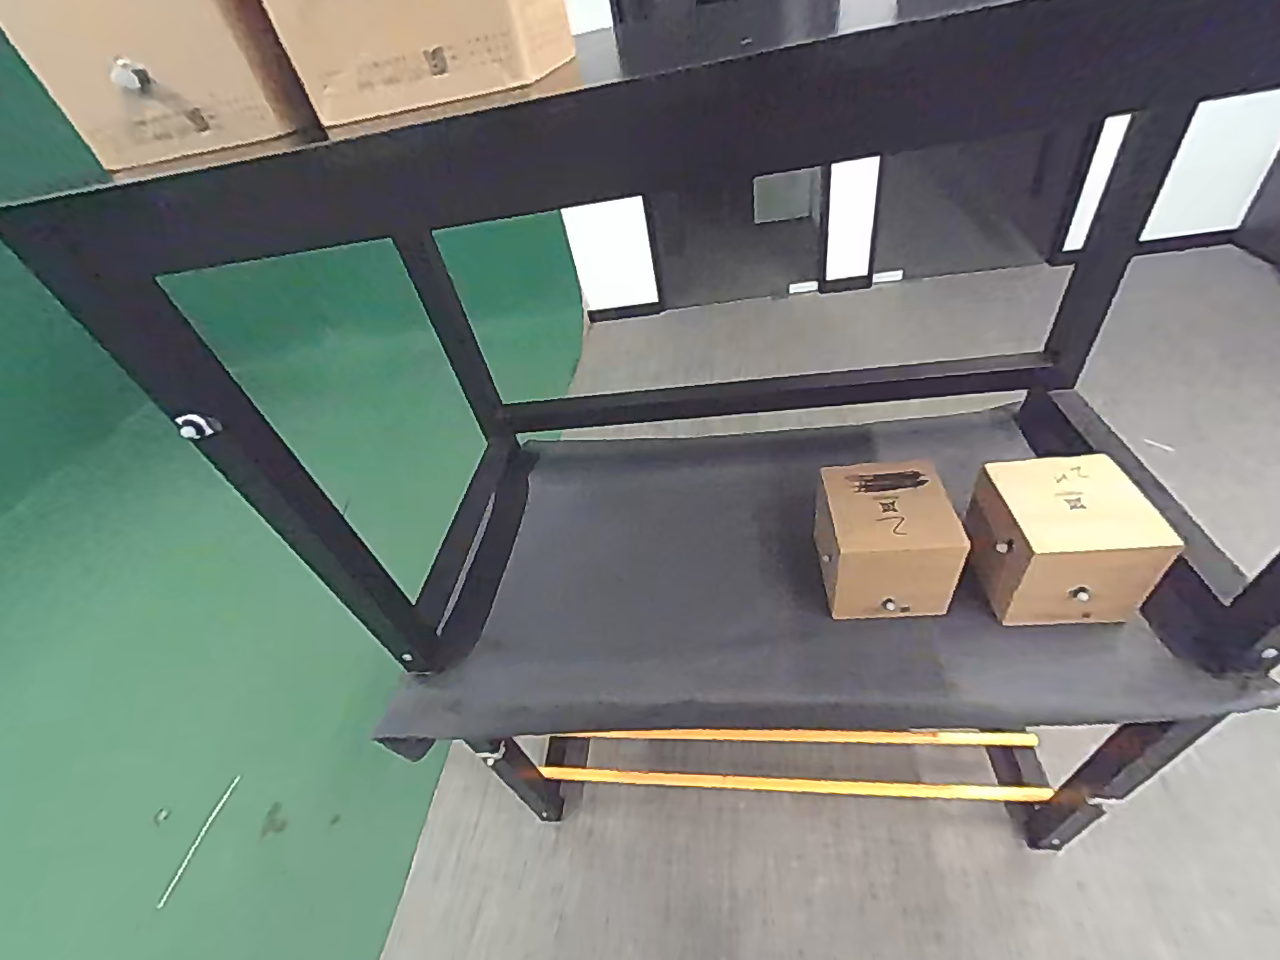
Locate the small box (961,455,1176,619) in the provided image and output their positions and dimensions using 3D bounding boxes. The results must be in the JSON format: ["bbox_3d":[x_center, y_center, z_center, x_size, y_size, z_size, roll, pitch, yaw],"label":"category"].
[{"bbox_3d":[0.596,0.089,0.783,0.168,0.176,0.179,-5,41,10],"label":"small box"}]

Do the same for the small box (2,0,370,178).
[{"bbox_3d":[-0.354,-0.364,0.436,0.168,0.176,0.179,-5,43,10],"label":"small box"}]
